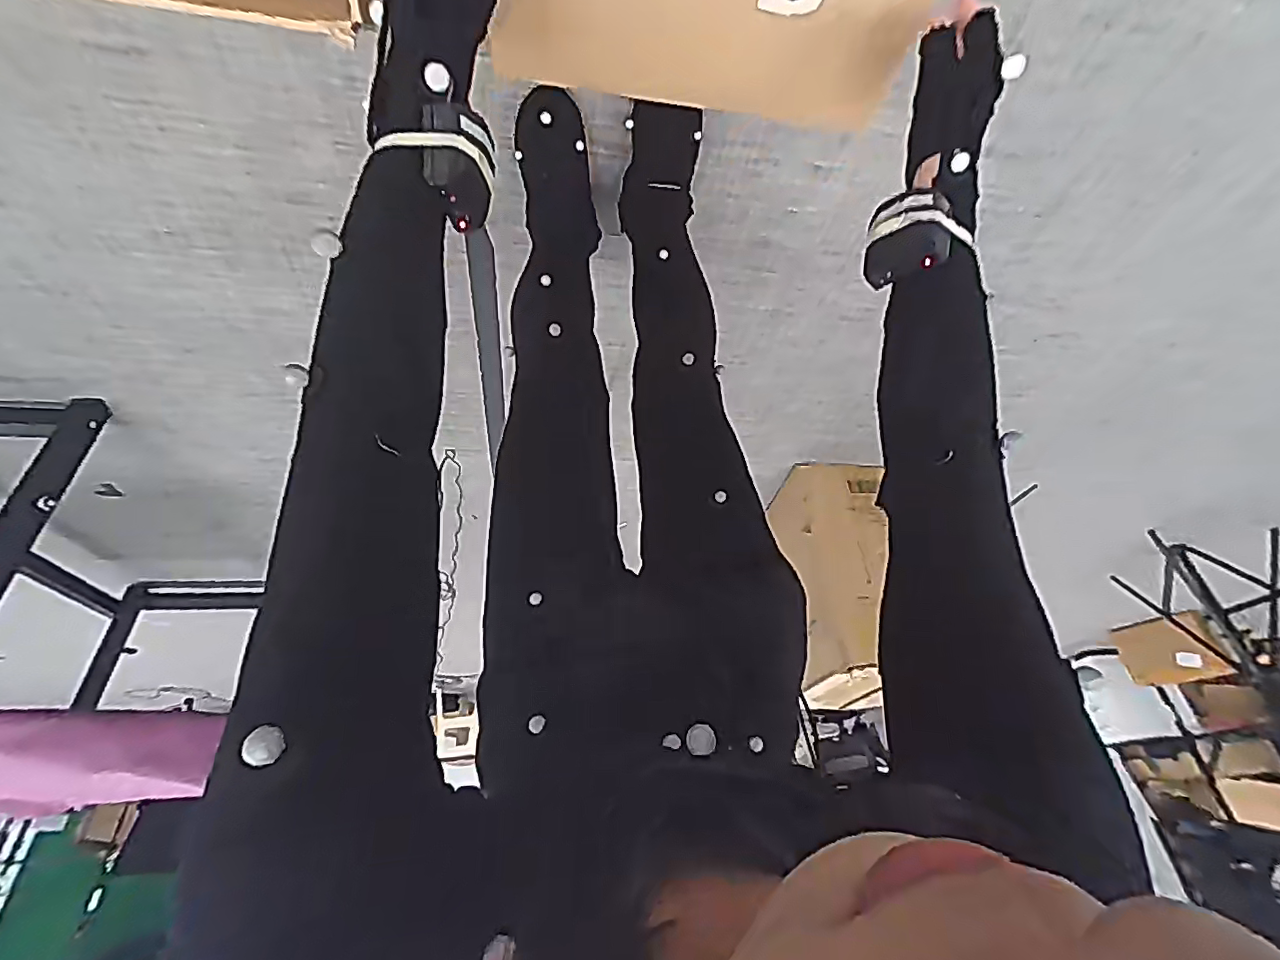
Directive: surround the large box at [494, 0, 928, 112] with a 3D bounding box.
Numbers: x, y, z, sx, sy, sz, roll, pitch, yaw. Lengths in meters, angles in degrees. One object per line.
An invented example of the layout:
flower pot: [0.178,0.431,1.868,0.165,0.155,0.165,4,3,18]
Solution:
large box: [0.067,-0.603,0.504,0.408,0.320,0.320,1,148,-10]
